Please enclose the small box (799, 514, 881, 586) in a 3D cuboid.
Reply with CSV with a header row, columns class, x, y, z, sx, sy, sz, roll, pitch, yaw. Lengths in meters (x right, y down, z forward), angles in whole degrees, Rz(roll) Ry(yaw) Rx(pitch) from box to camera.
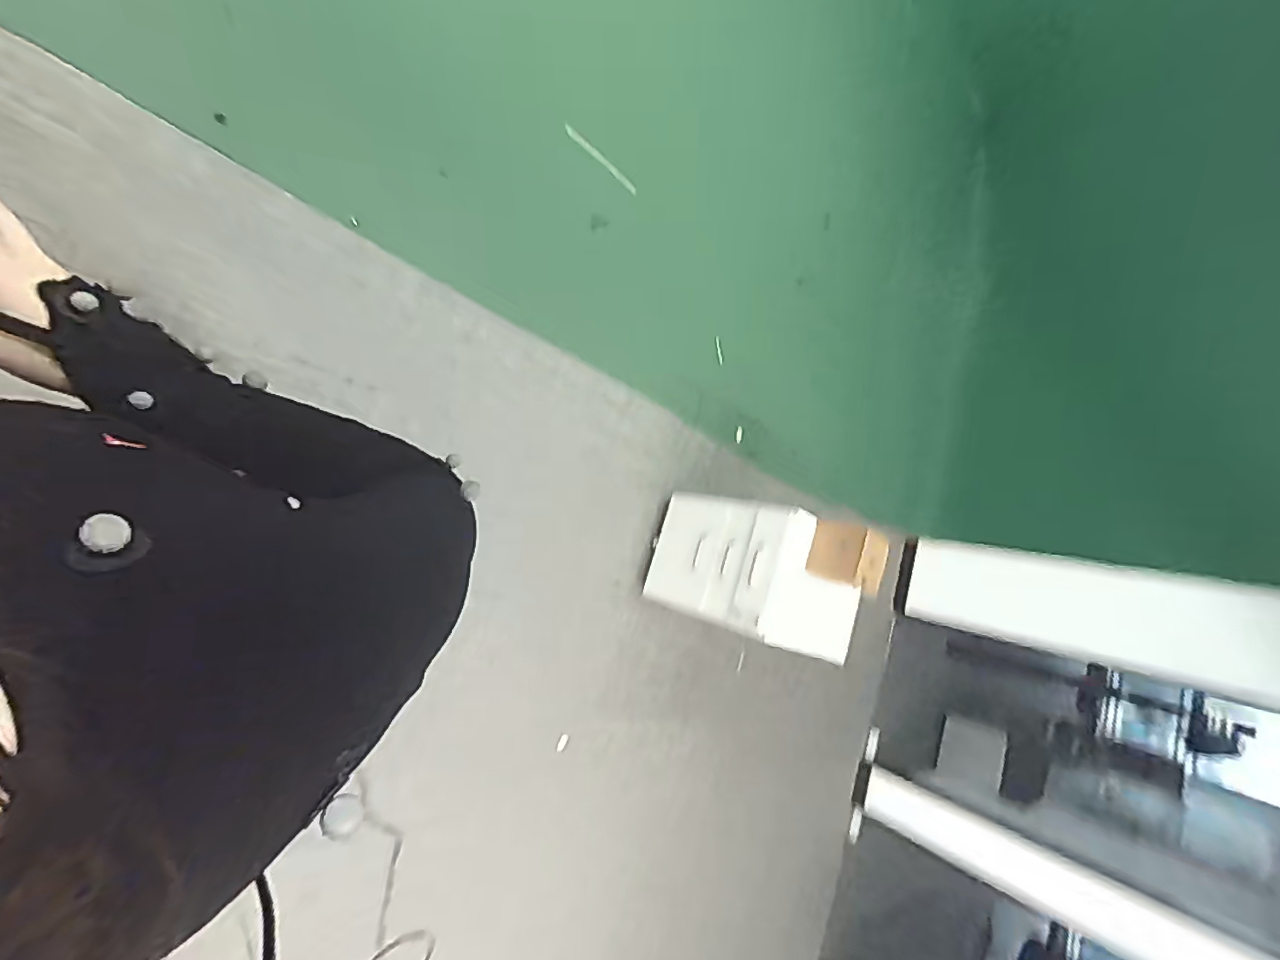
class,x,y,z,sx,sy,sz,roll,pitch,yaw
small box,0.627,0.217,1.701,0.168,0.176,0.179,25,79,-40
